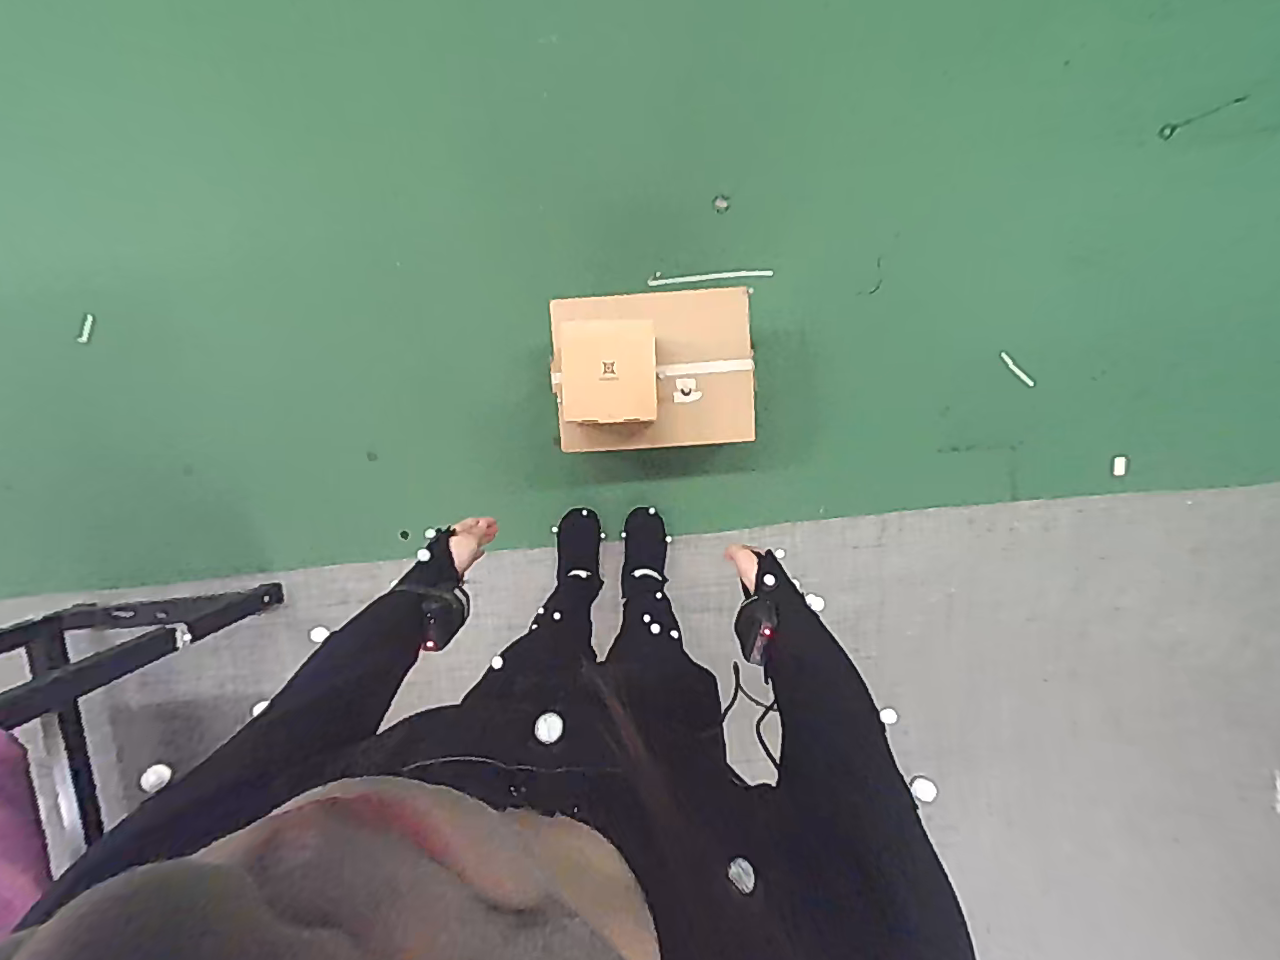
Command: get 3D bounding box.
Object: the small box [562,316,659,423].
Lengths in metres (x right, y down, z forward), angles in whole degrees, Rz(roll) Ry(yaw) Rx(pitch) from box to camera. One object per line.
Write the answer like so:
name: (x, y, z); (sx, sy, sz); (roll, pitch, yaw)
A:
small box: (-0.051, -0.197, 0.999); (0.168, 0.176, 0.179); (-2, 97, 0)

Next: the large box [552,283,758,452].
large box: (0.031, -0.239, 1.239); (0.408, 0.320, 0.320); (-4, 96, 0)
